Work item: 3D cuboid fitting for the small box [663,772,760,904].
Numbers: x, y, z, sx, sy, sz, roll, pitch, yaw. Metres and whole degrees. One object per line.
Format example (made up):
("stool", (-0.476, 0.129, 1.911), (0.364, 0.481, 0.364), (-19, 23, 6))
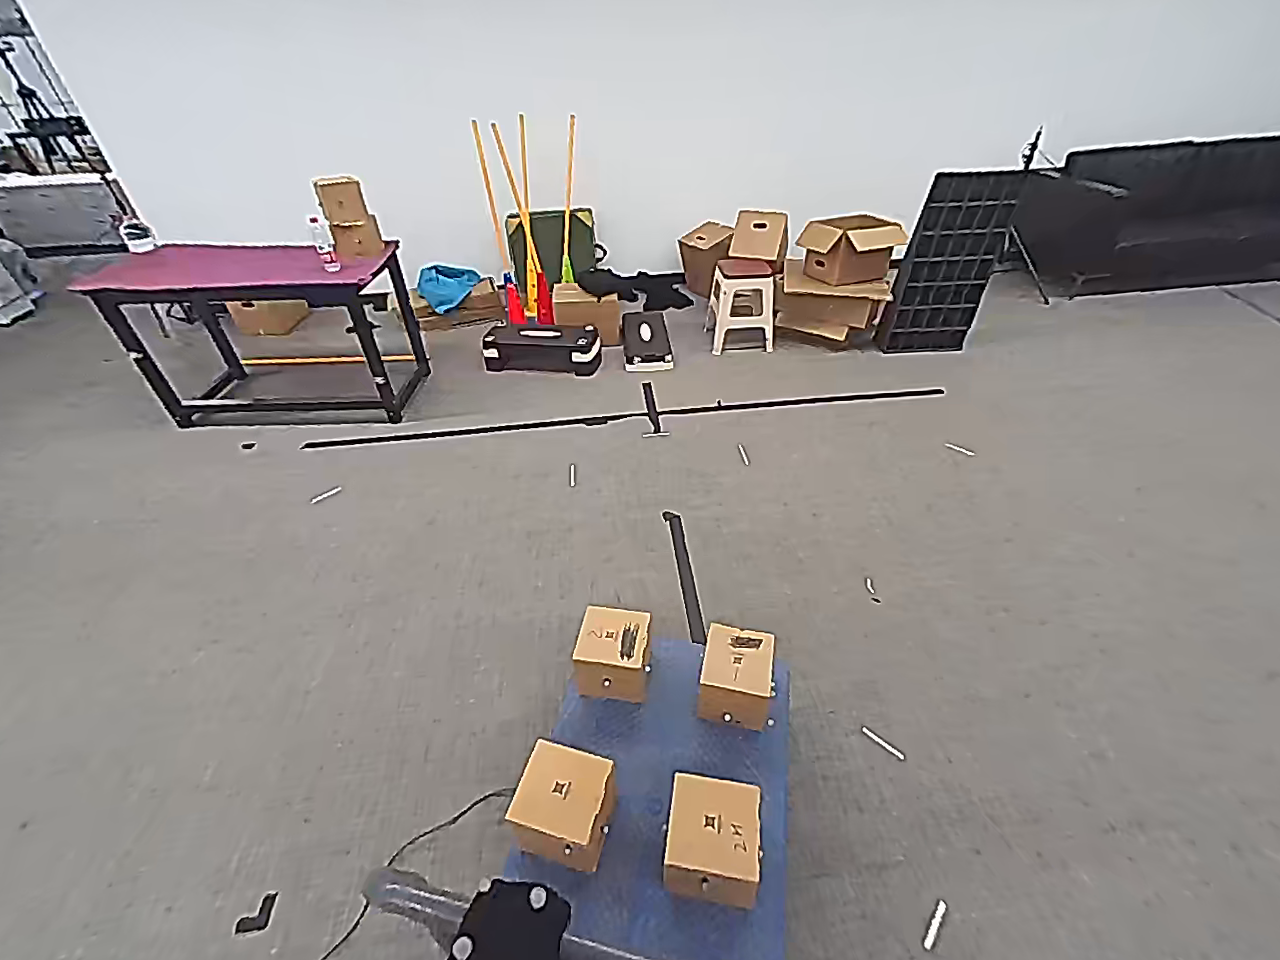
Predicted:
("small box", (0.145, 0.723, 1.092), (0.179, 0.176, 0.168), (6, 40, 9))

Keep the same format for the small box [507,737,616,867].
("small box", (-0.158, 0.686, 1.149), (0.179, 0.176, 0.168), (11, 40, 12))

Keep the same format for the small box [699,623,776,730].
("small box", (0.245, 0.496, 1.369), (0.168, 0.176, 0.179), (9, 41, 12))
